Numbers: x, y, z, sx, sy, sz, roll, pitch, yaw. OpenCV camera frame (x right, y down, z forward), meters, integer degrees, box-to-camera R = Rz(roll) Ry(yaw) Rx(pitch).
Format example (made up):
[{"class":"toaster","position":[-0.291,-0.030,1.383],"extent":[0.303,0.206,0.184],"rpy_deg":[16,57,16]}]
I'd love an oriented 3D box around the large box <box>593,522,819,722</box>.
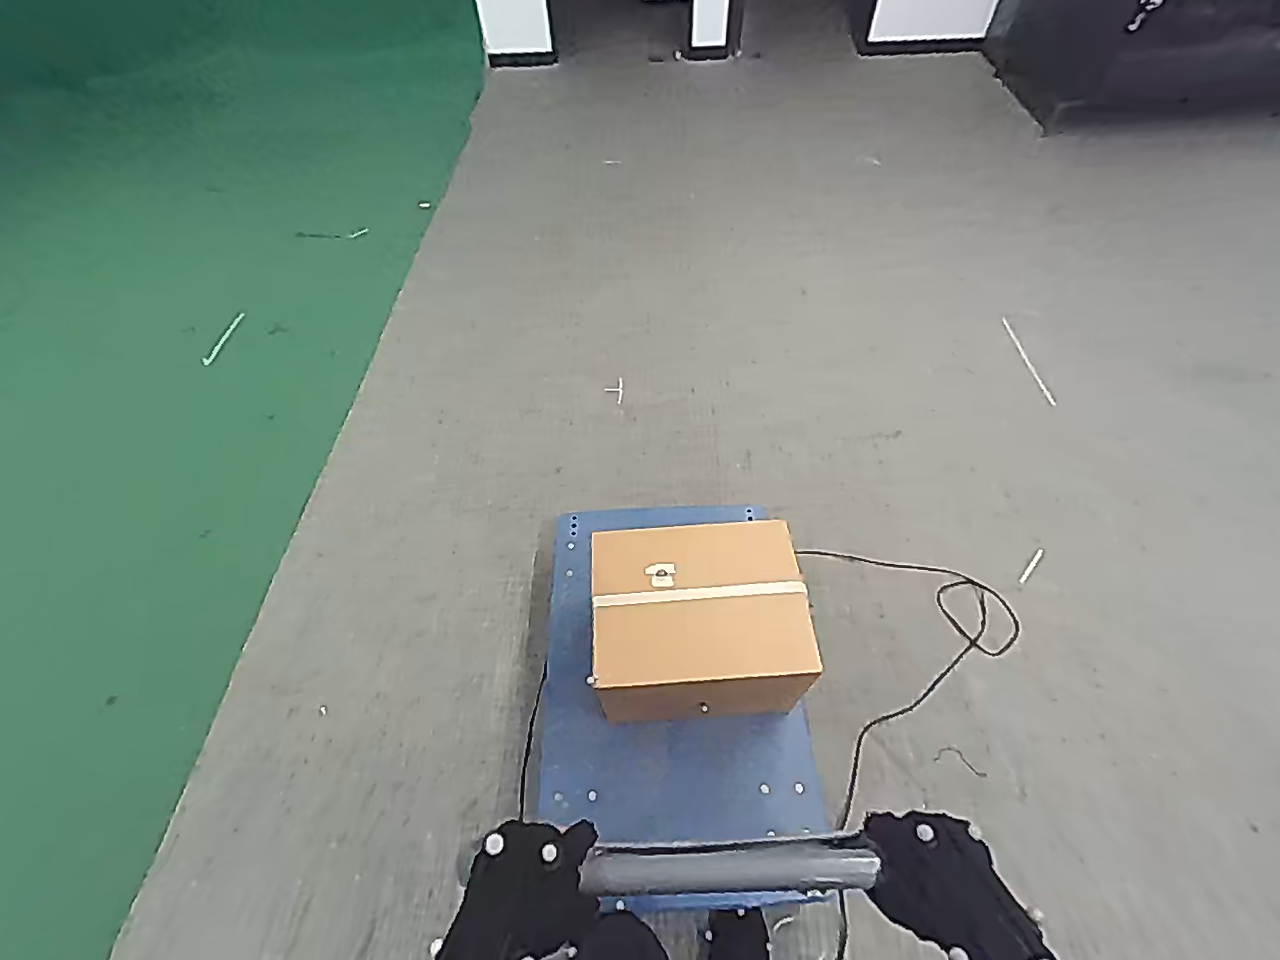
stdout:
[{"class":"large box","position":[0.121,0.315,1.161],"extent":[0.408,0.320,0.320],"rpy_deg":[-5,54,1]}]
